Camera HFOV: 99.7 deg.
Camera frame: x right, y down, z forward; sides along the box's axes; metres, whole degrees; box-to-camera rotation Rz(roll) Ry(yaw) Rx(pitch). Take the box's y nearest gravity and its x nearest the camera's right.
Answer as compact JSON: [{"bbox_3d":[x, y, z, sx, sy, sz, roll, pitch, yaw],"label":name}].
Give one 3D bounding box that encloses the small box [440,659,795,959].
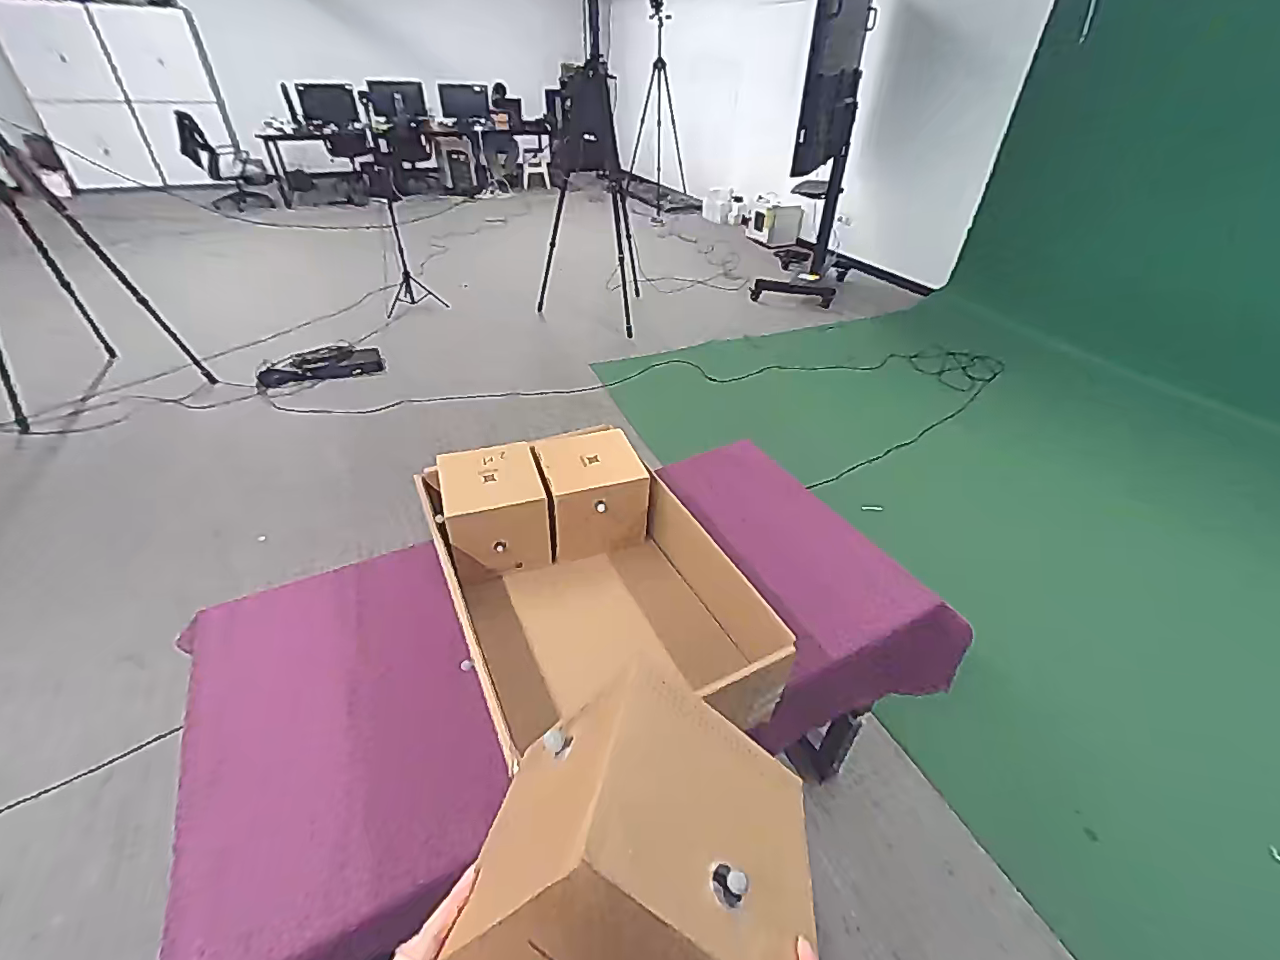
[{"bbox_3d":[-0.001,0.272,0.400,0.179,0.168,0.176,39,24,-5],"label":"small box"}]
